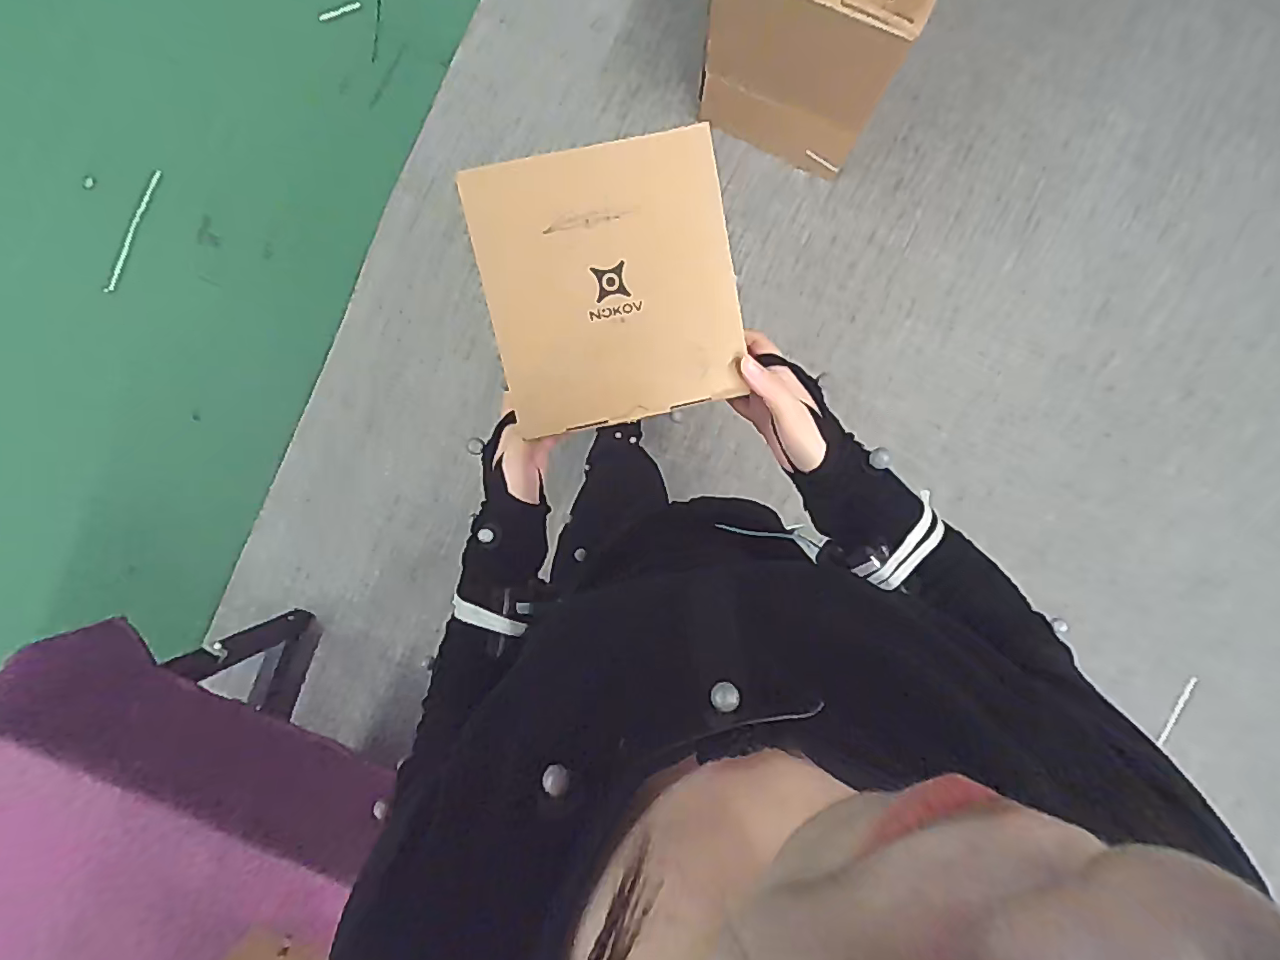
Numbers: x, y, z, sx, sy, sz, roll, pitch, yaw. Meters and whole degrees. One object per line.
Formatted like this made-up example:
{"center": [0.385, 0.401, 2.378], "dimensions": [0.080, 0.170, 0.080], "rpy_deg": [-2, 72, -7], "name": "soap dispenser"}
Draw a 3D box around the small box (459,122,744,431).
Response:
{"center": [-0.026, -0.147, 0.436], "dimensions": [0.168, 0.176, 0.179], "rpy_deg": [-11, 101, -3], "name": "small box"}
